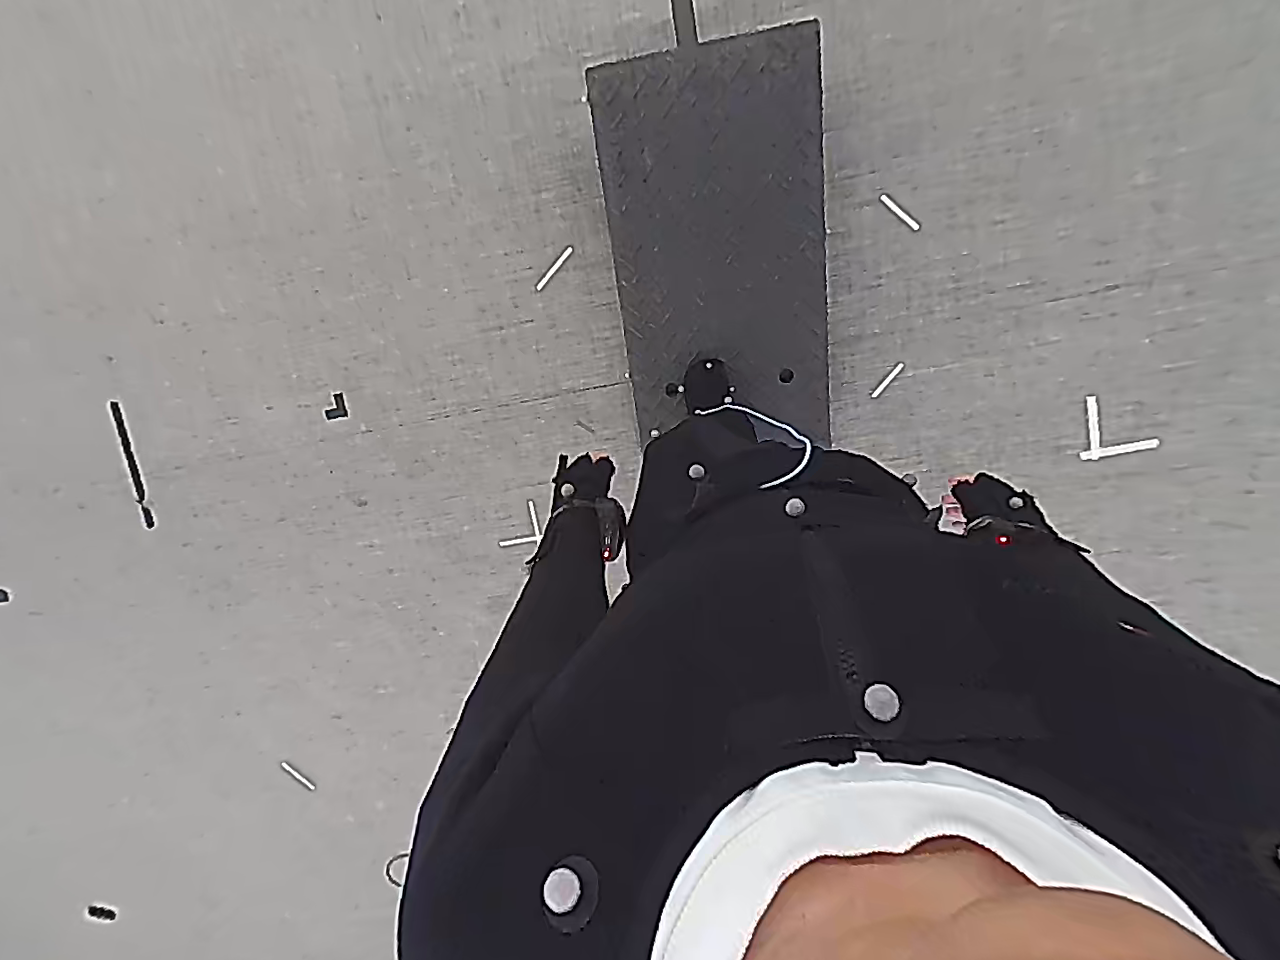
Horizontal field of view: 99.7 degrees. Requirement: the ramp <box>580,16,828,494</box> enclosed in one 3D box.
[{"bbox_3d":[0.188,-0.448,1.294,0.509,0.206,0.991,-8,101,7],"label":"ramp"}]
